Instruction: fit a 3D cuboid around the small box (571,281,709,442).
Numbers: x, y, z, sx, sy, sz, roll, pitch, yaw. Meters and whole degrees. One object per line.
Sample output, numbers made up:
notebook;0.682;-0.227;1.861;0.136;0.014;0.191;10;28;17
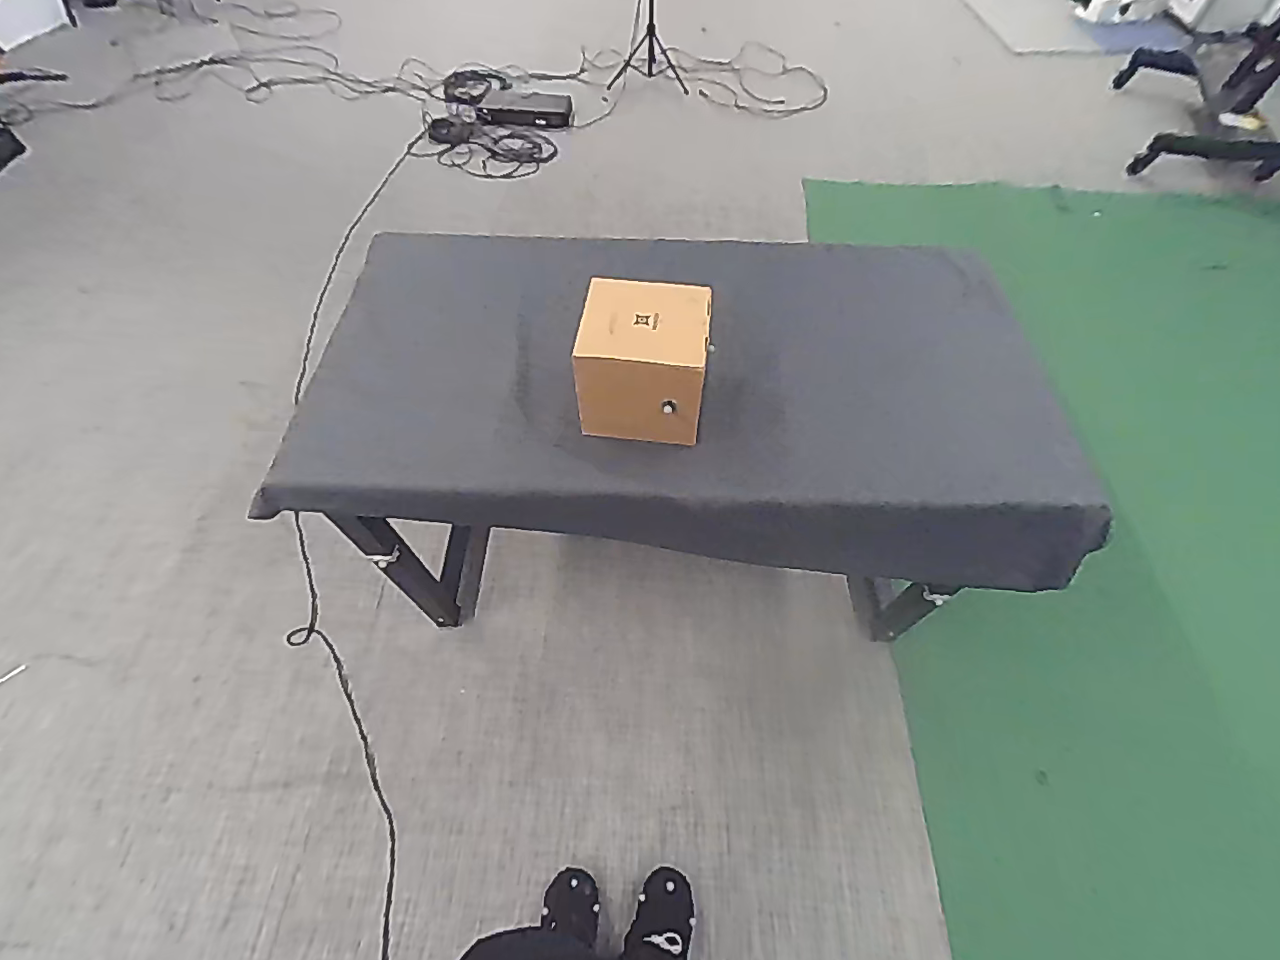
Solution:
small box;0.005;-0.171;0.809;0.179;0.176;0.168;5;56;4
